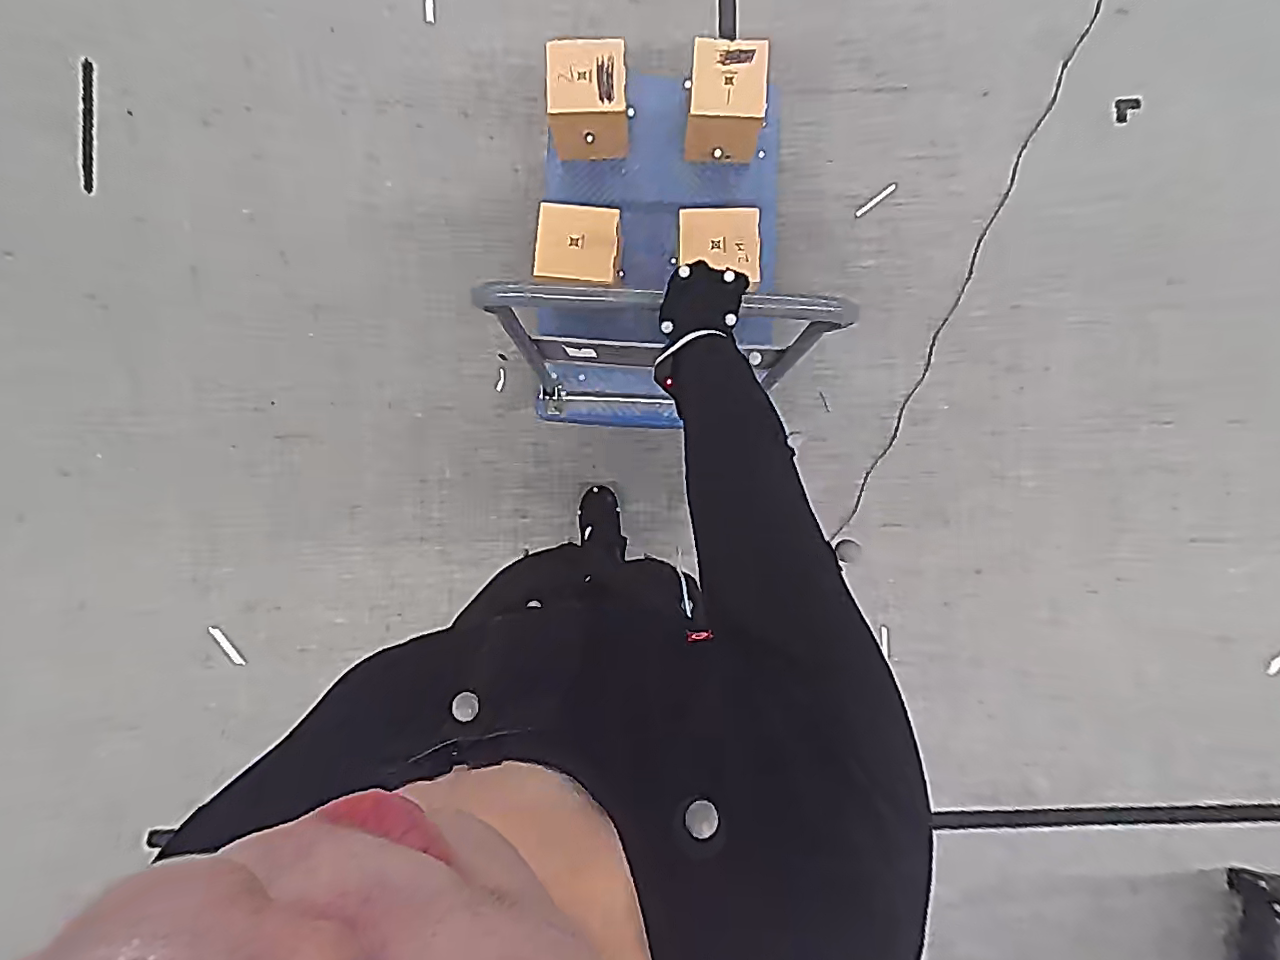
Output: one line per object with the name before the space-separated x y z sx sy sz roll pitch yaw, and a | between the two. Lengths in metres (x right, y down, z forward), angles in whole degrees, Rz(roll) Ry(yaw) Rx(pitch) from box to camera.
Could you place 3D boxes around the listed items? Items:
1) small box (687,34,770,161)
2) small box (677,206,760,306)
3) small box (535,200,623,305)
small box | 0.199 -0.884 1.261 0.168 0.176 0.179 3 89 1
small box | 0.175 -0.509 1.248 0.179 0.176 0.168 0 88 1
small box | -0.135 -0.517 1.253 0.179 0.176 0.168 5 87 -1
